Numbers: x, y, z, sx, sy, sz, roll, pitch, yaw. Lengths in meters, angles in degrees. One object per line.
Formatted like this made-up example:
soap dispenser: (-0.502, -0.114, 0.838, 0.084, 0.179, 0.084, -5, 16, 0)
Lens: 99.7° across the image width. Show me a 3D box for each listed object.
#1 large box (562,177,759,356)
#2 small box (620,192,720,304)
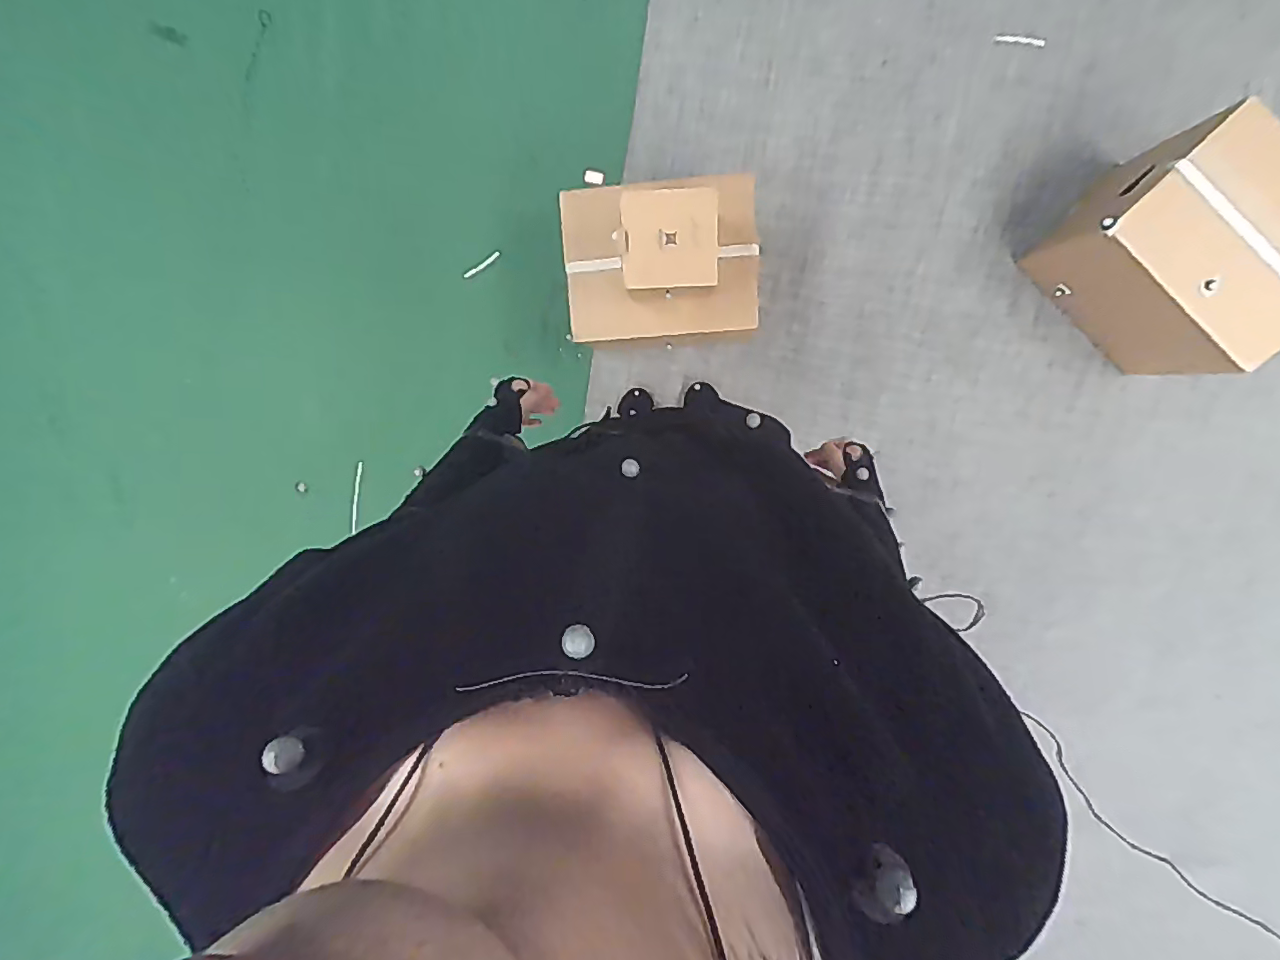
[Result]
large box: (0.063, -0.472, 1.280, 0.408, 0.320, 0.320, -3, 98, 8)
small box: (0.062, -0.433, 1.035, 0.179, 0.176, 0.168, 0, 101, 6)
